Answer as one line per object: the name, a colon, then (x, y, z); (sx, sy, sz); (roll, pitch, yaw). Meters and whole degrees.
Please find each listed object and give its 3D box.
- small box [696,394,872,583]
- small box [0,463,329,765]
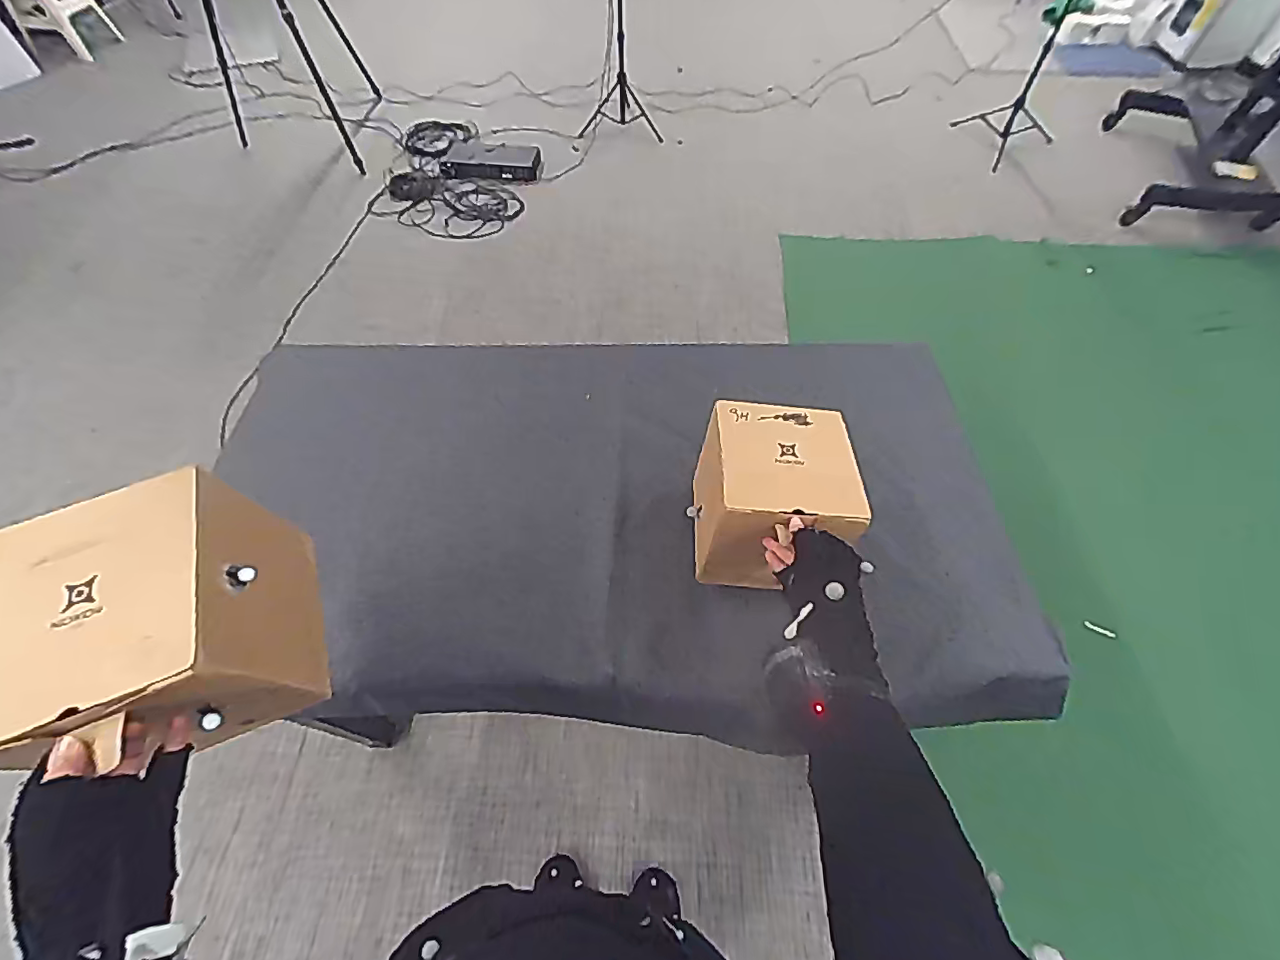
small box: (0.168, 0.016, 0.695); (0.168, 0.176, 0.179); (6, 52, -4)
small box: (-0.394, 0.120, 0.461); (0.168, 0.176, 0.179); (-21, 63, -8)
